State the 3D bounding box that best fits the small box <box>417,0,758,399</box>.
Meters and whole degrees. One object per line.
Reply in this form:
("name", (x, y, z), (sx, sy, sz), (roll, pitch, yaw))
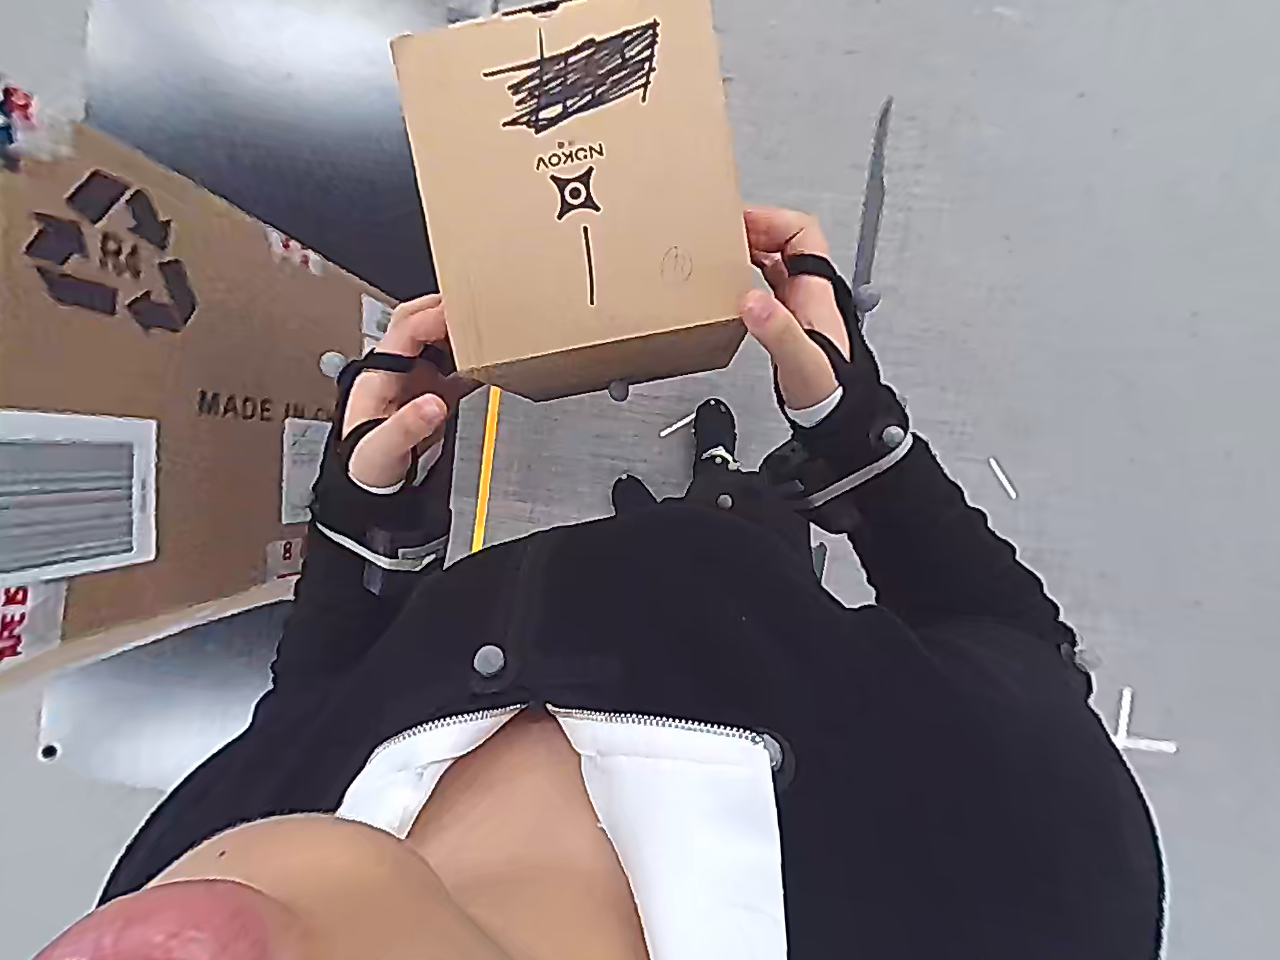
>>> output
("small box", (-0.024, -0.160, 0.366), (0.168, 0.176, 0.179), (-8, 92, 5))
